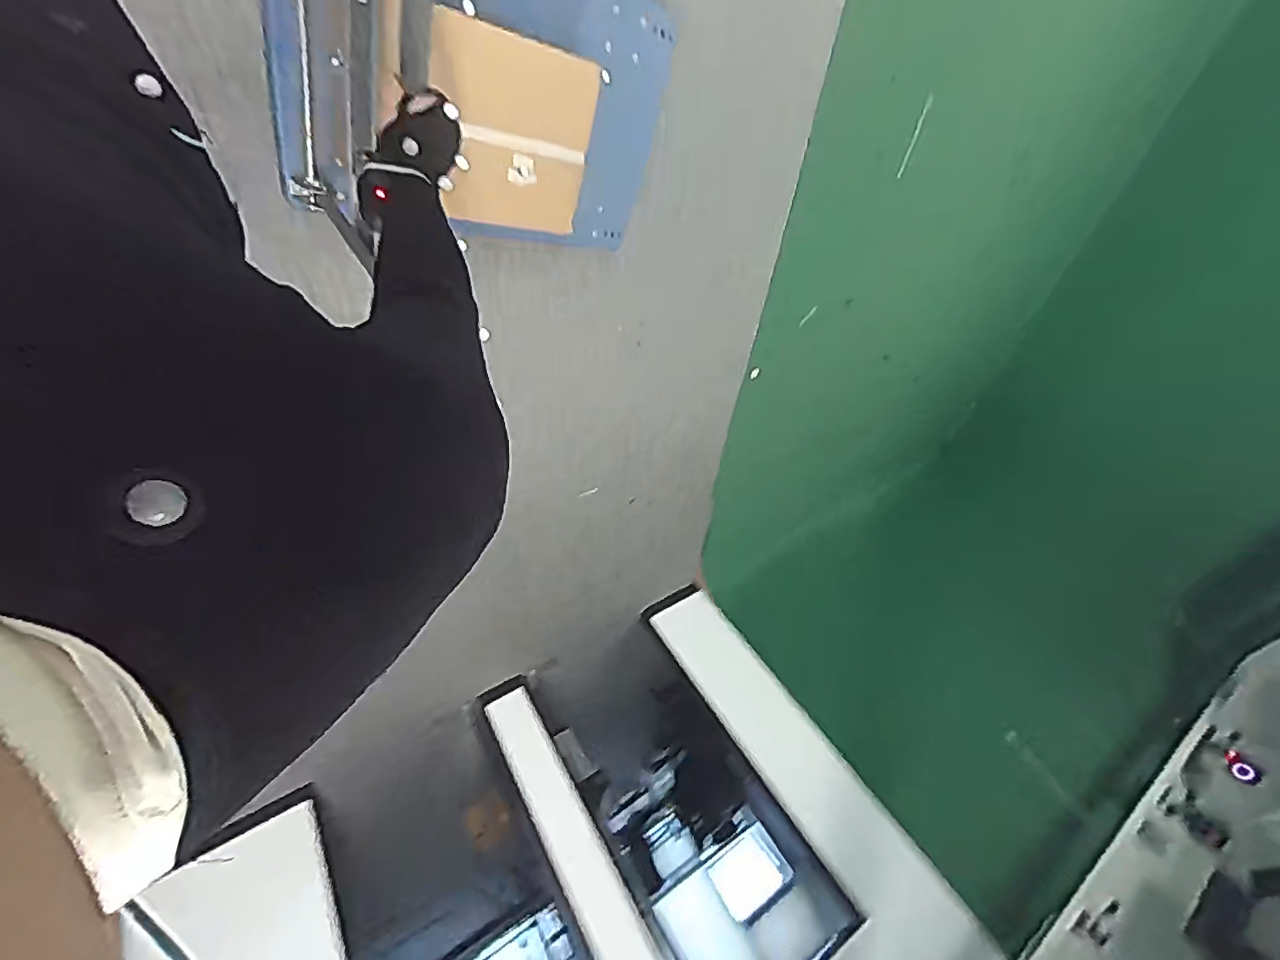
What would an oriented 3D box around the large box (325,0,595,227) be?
[{"bbox_3d":[-0.363,-0.734,1.075,0.408,0.320,0.320,-11,136,-37],"label":"large box"}]
